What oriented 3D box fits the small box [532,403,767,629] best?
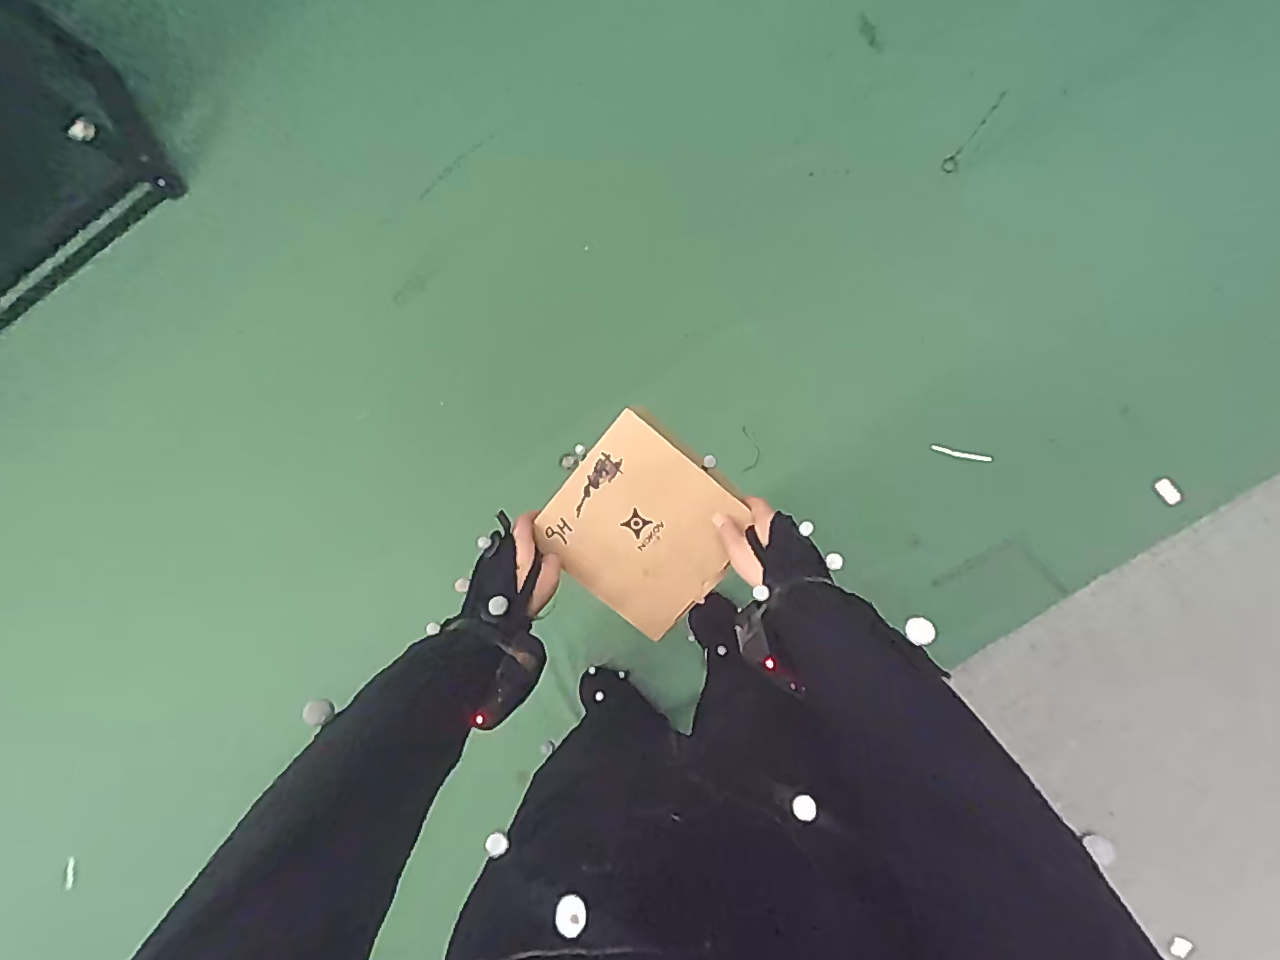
[{"bbox_3d":[0.012,0.025,0.610,0.179,0.176,0.168,40,99,-5],"label":"small box"}]
